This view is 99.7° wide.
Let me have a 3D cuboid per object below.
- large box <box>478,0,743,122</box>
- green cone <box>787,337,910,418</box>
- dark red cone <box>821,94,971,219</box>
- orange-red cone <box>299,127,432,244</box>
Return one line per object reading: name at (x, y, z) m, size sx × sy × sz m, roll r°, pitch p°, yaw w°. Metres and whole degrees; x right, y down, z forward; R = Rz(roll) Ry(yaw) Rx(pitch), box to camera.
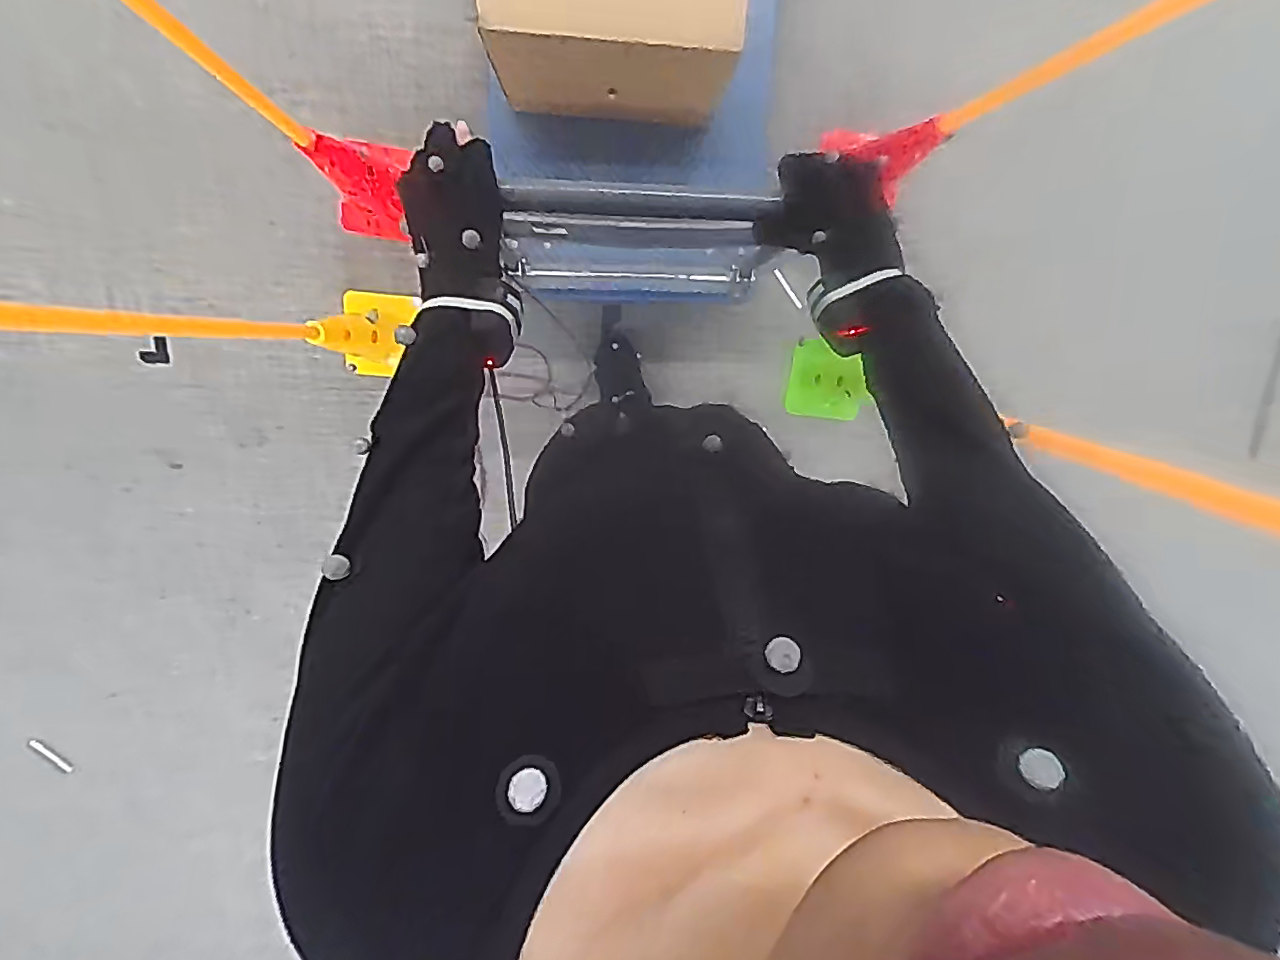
large box at (-0.044, -0.853, 0.932) m, size 0.408 × 0.320 × 0.320 m, roll 2°, pitch 104°, yaw -3°
green cone at (0.508, -0.228, 1.262) m, size 0.202 × 0.368 × 0.200 m, roll 5°, pitch 103°, yaw -5°
dark red cone at (0.545, -0.694, 1.131) m, size 0.201 × 0.394 × 0.202 m, roll 1°, pitch 104°, yaw -5°
orange-red cone at (-0.588, -0.637, 1.110) m, size 0.198 × 0.360 × 0.199 m, roll 8°, pitch 102°, yaw -6°
